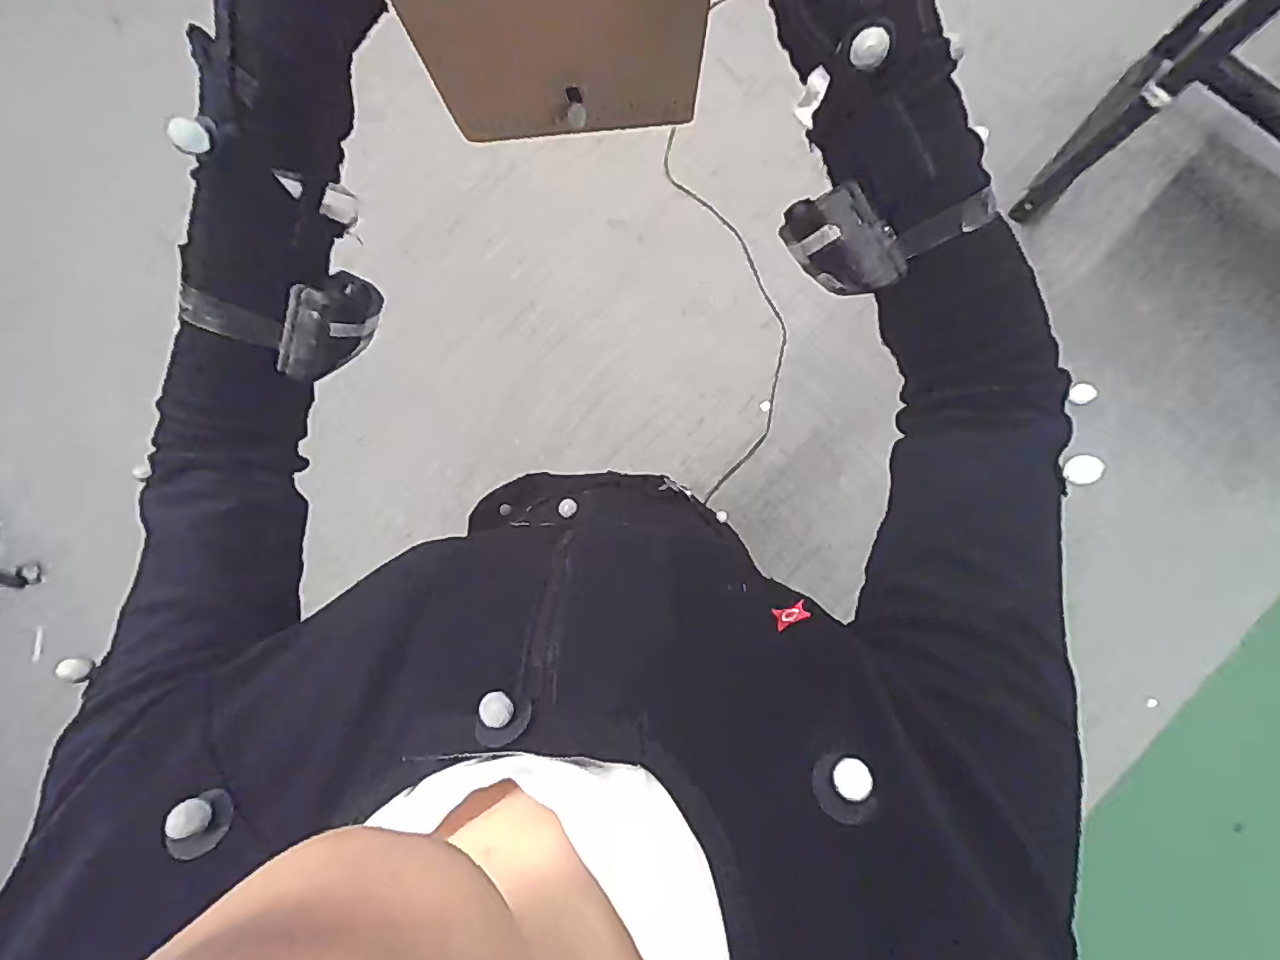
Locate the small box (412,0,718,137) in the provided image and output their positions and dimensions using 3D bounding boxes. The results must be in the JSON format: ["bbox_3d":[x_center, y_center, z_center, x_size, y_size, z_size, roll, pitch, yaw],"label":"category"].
[{"bbox_3d":[-0.044,-0.345,0.333,0.179,0.176,0.168,-5,90,0],"label":"small box"}]
